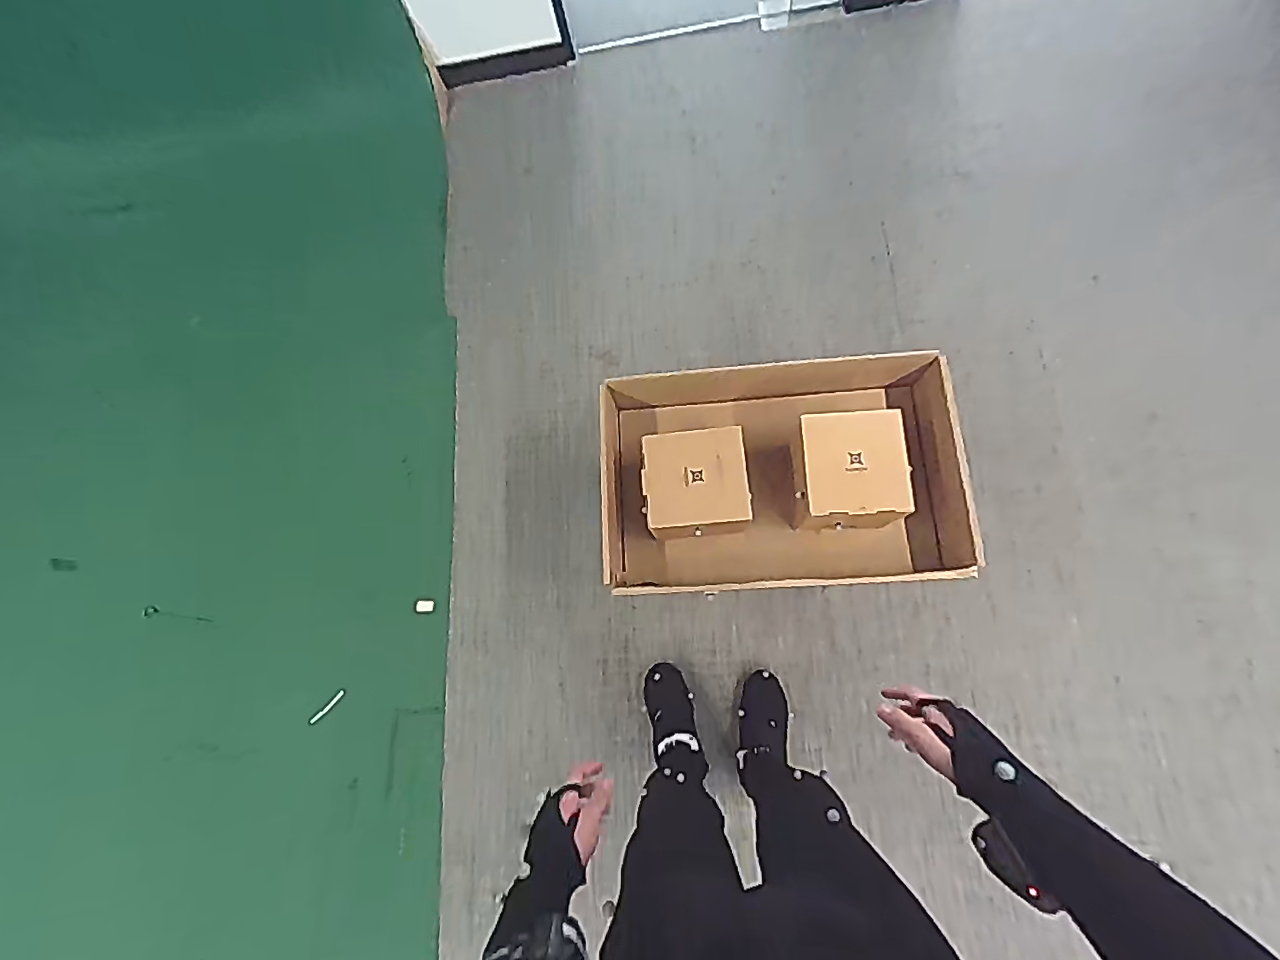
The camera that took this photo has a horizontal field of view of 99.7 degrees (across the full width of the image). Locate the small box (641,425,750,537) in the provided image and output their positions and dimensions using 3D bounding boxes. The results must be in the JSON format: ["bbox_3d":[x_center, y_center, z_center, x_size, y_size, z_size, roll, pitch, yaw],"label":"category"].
[{"bbox_3d":[0.101,0.010,0.993,0.179,0.176,0.168,-4,77,5],"label":"small box"}]

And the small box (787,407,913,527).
[{"bbox_3d":[0.362,-0.016,0.966,0.168,0.176,0.179,-3,77,6],"label":"small box"}]
